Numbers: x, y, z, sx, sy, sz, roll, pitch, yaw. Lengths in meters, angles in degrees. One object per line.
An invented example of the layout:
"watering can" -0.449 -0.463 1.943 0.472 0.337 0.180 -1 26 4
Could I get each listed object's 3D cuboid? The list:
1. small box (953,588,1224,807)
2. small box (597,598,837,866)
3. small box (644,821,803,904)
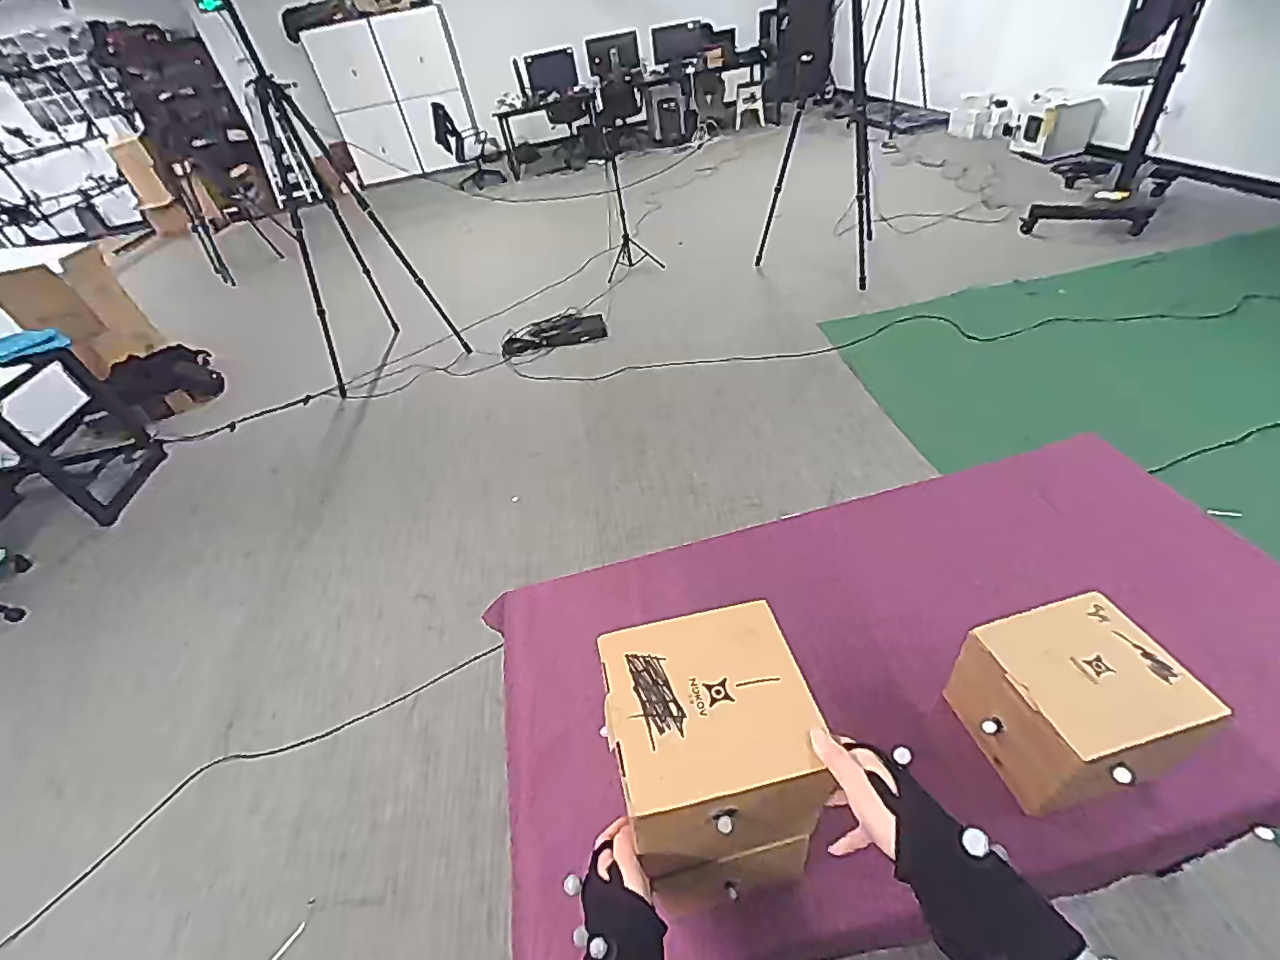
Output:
"small box" 0.514 0.266 0.659 0.179 0.176 0.168 -16 41 -3
"small box" 0.063 0.246 0.530 0.179 0.176 0.168 -10 41 -8
"small box" 0.081 0.374 0.644 0.168 0.176 0.179 -14 41 -3
